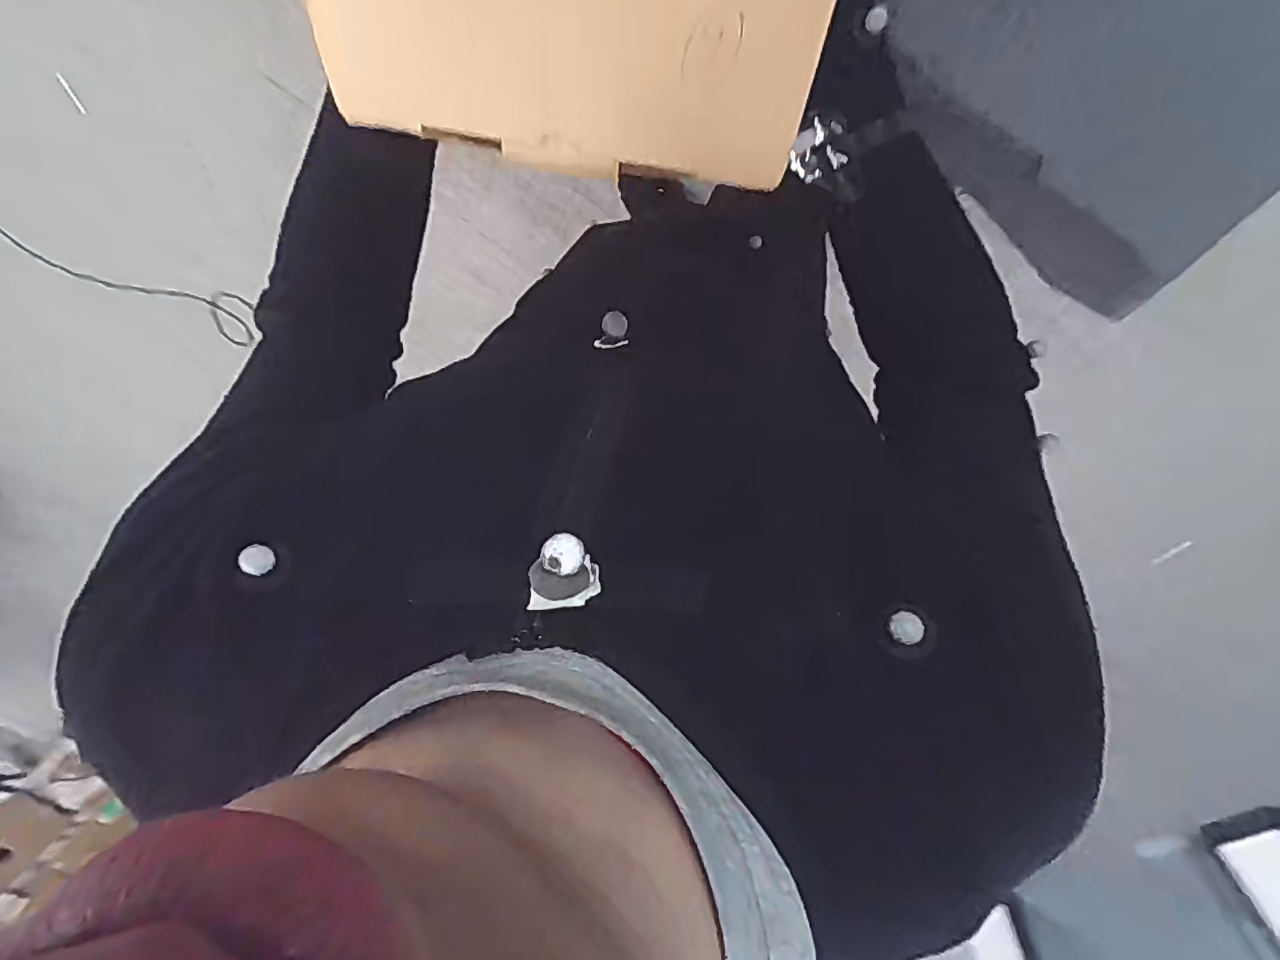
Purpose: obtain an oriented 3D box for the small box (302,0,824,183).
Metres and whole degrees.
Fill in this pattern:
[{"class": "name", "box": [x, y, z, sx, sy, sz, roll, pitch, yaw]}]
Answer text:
[{"class": "small box", "box": [-0.010, -0.236, 0.175, 0.168, 0.176, 0.179, 10, 143, 0]}]
